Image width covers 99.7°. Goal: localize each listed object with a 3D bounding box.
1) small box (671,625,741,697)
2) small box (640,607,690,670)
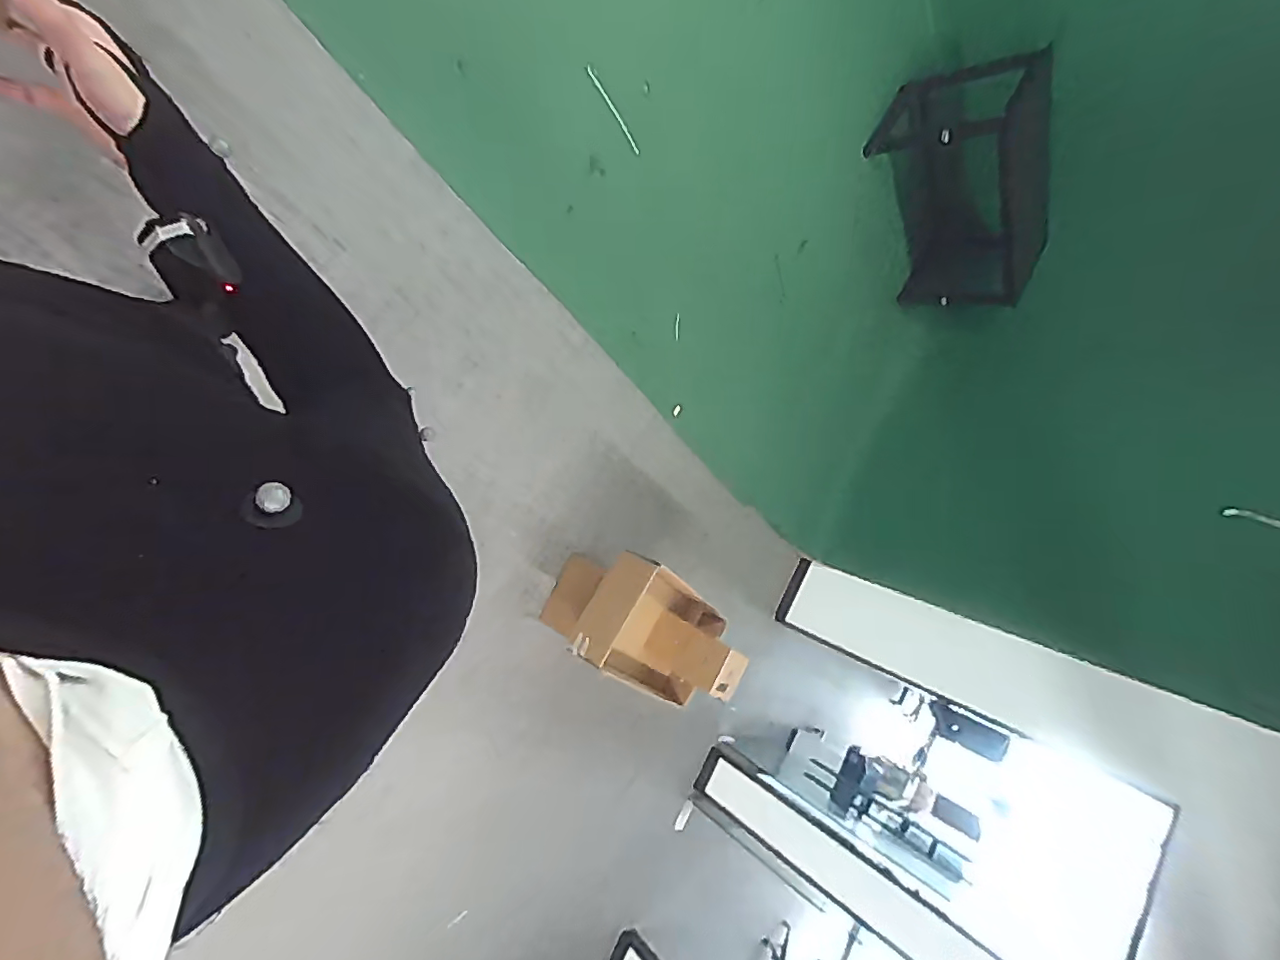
[{"bbox_3d":[0.236,0.664,1.986,0.168,0.176,0.179,43,72,-46],"label":"small box"},{"bbox_3d":[0.122,0.625,2.098,0.179,0.176,0.168,-59,137,-13],"label":"small box"}]
